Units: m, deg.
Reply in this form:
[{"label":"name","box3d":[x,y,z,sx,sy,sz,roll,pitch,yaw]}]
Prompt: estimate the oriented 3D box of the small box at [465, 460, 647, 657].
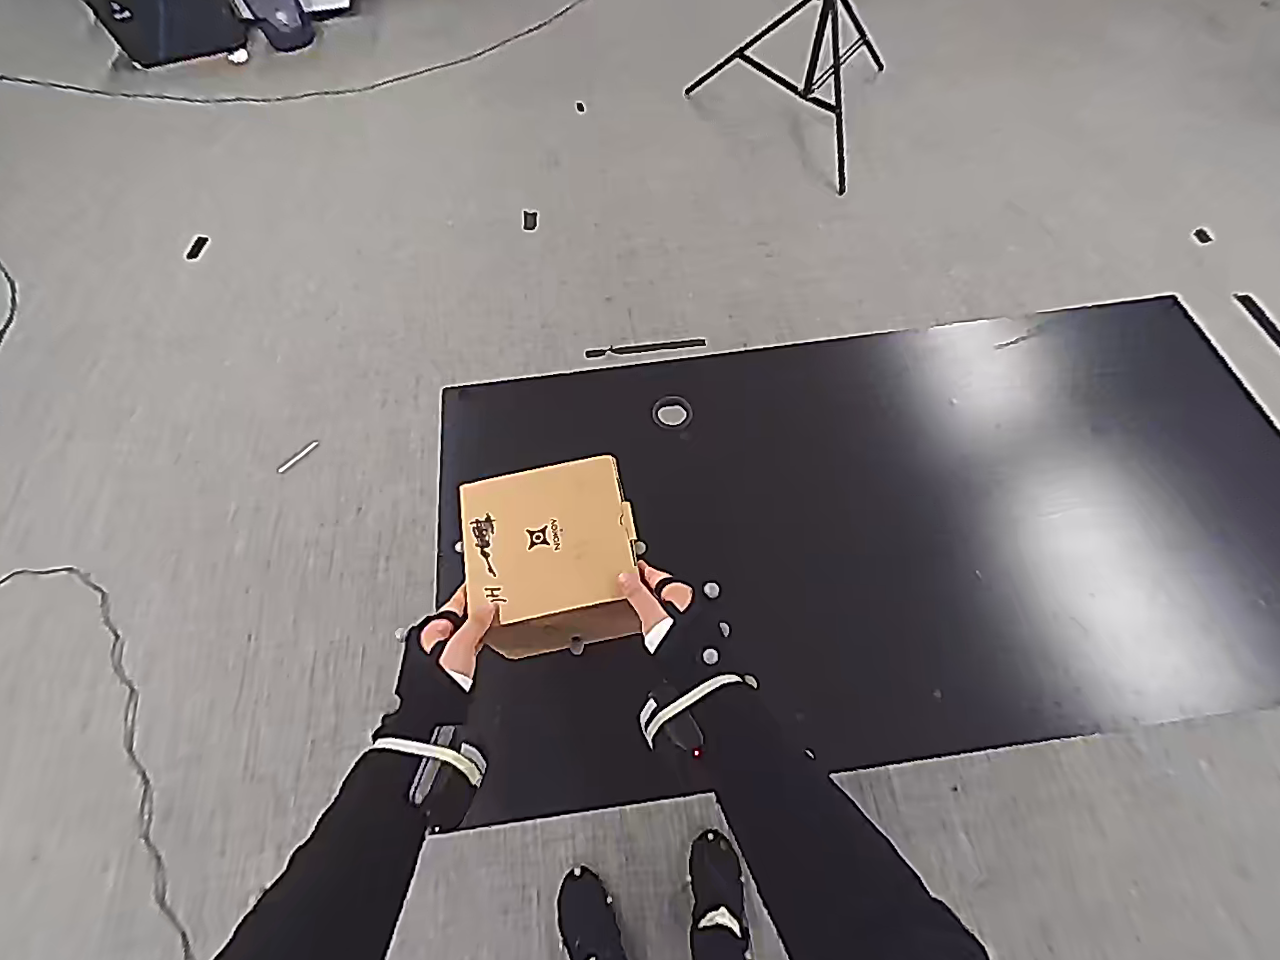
[{"label":"small box","box3d":[-0.093,0.099,0.638,0.179,0.176,0.168,-11,62,-5]}]
